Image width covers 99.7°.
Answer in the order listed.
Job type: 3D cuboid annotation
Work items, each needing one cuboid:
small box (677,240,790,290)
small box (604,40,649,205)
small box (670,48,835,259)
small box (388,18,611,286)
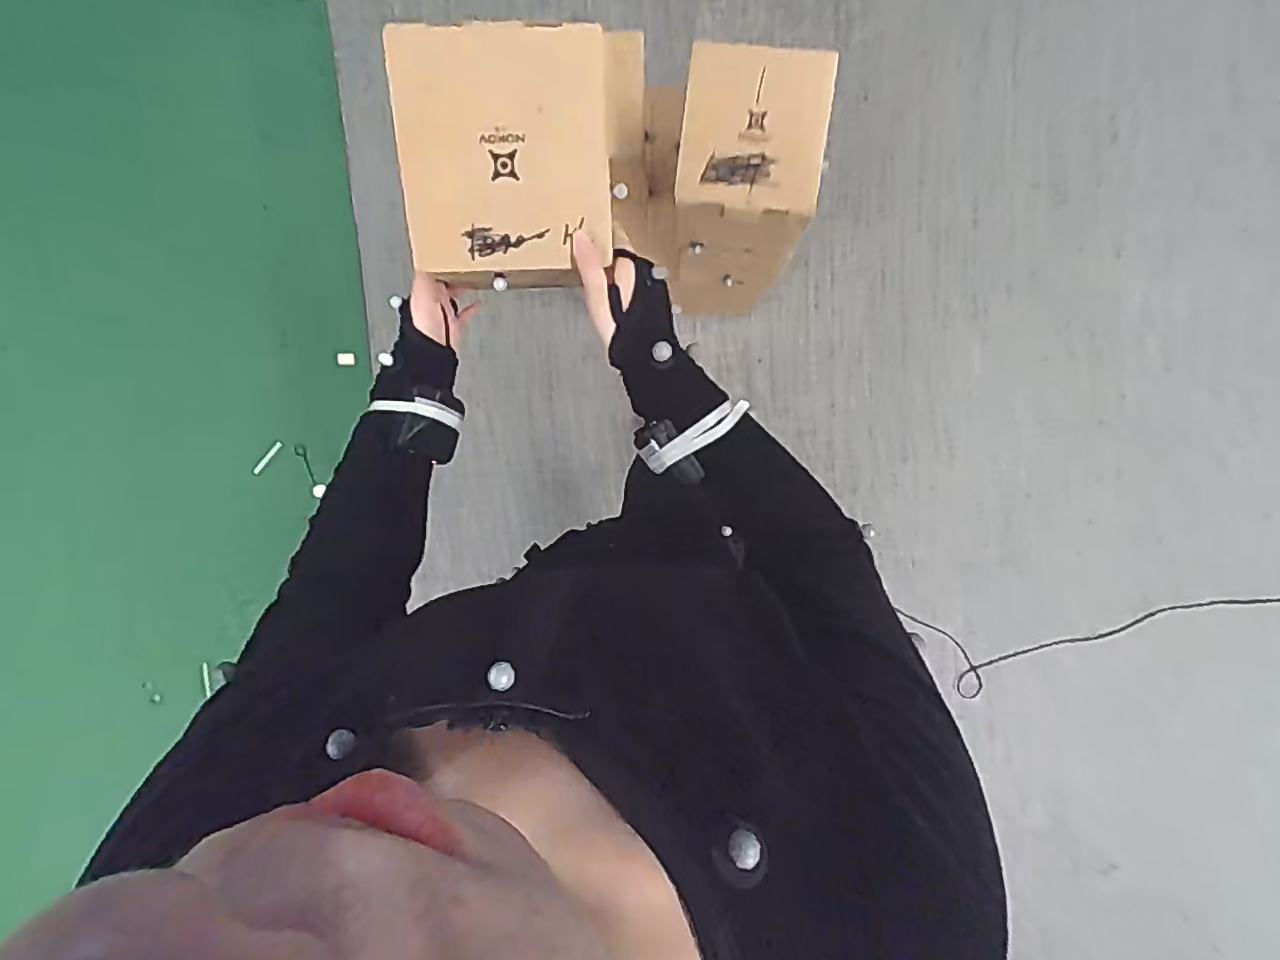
[{"bbox_3d":[0.146,-0.415,0.859,0.168,0.176,0.179,4,96,4],"label":"small box"},{"bbox_3d":[-0.076,-0.553,0.859,0.179,0.176,0.168,1,96,5],"label":"small box"},{"bbox_3d":[0.133,-0.401,0.695,0.168,0.176,0.179,7,95,3],"label":"small box"},{"bbox_3d":[-0.112,-0.285,0.509,0.168,0.176,0.179,-2,104,-1],"label":"small box"}]
